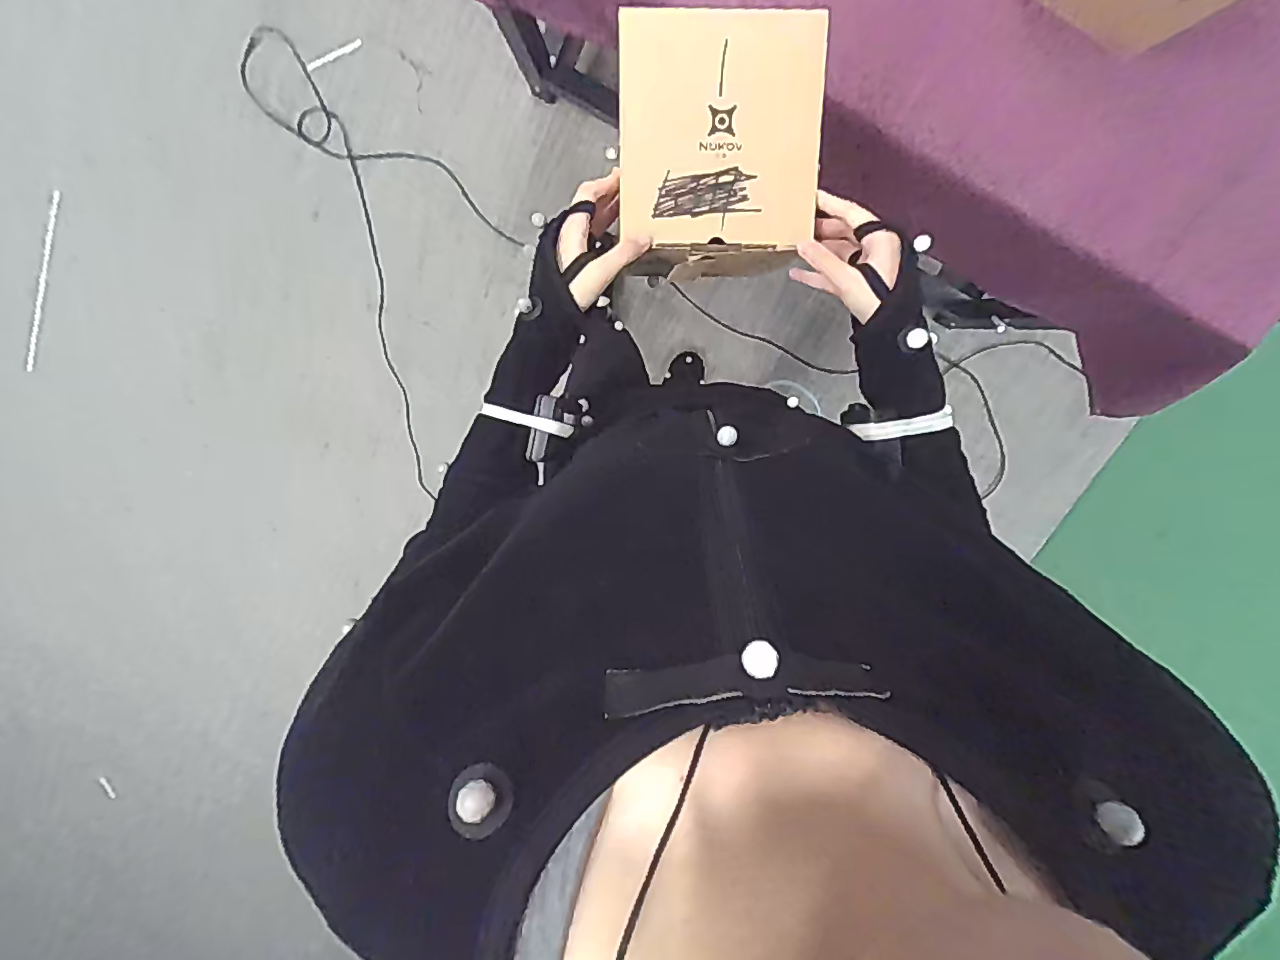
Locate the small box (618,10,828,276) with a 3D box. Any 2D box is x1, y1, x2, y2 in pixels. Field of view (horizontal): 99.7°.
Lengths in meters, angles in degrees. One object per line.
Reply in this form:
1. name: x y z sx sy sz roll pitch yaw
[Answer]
1. small box: 0.066 -0.299 0.520 0.168 0.176 0.179 1 102 -1
